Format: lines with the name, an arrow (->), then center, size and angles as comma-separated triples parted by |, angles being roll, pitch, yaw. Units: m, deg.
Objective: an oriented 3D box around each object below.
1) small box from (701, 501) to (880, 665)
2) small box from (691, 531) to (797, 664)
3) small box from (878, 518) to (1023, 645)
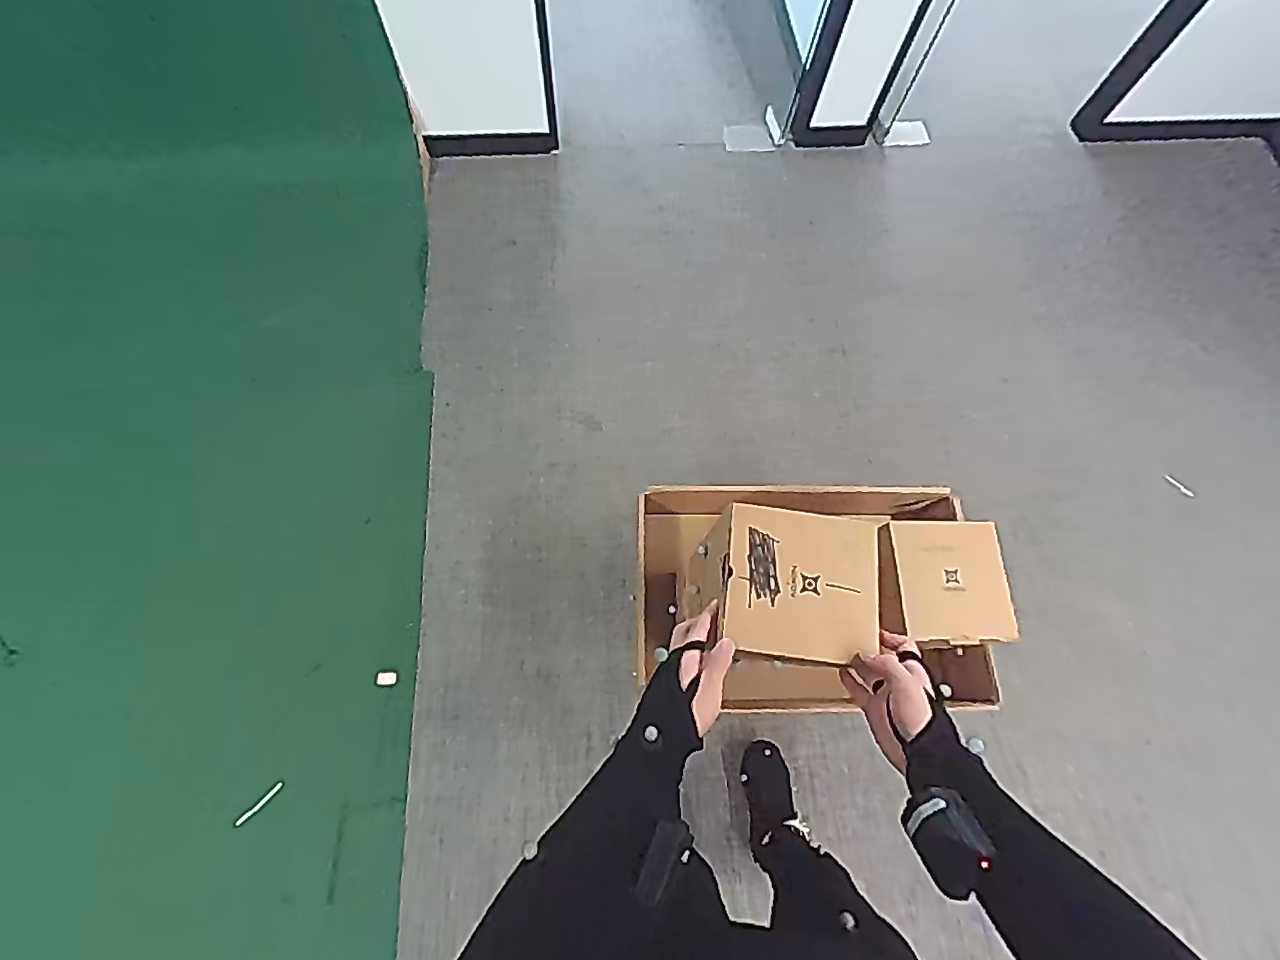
small box -> 0.178, 0.137, 0.679 | 0.179, 0.176, 0.168 | 8, 71, -1
small box -> 0.173, 0.188, 0.837 | 0.168, 0.176, 0.179 | 4, 70, -1
small box -> 0.451, 0.167, 0.854 | 0.168, 0.176, 0.179 | 1, 70, -3
